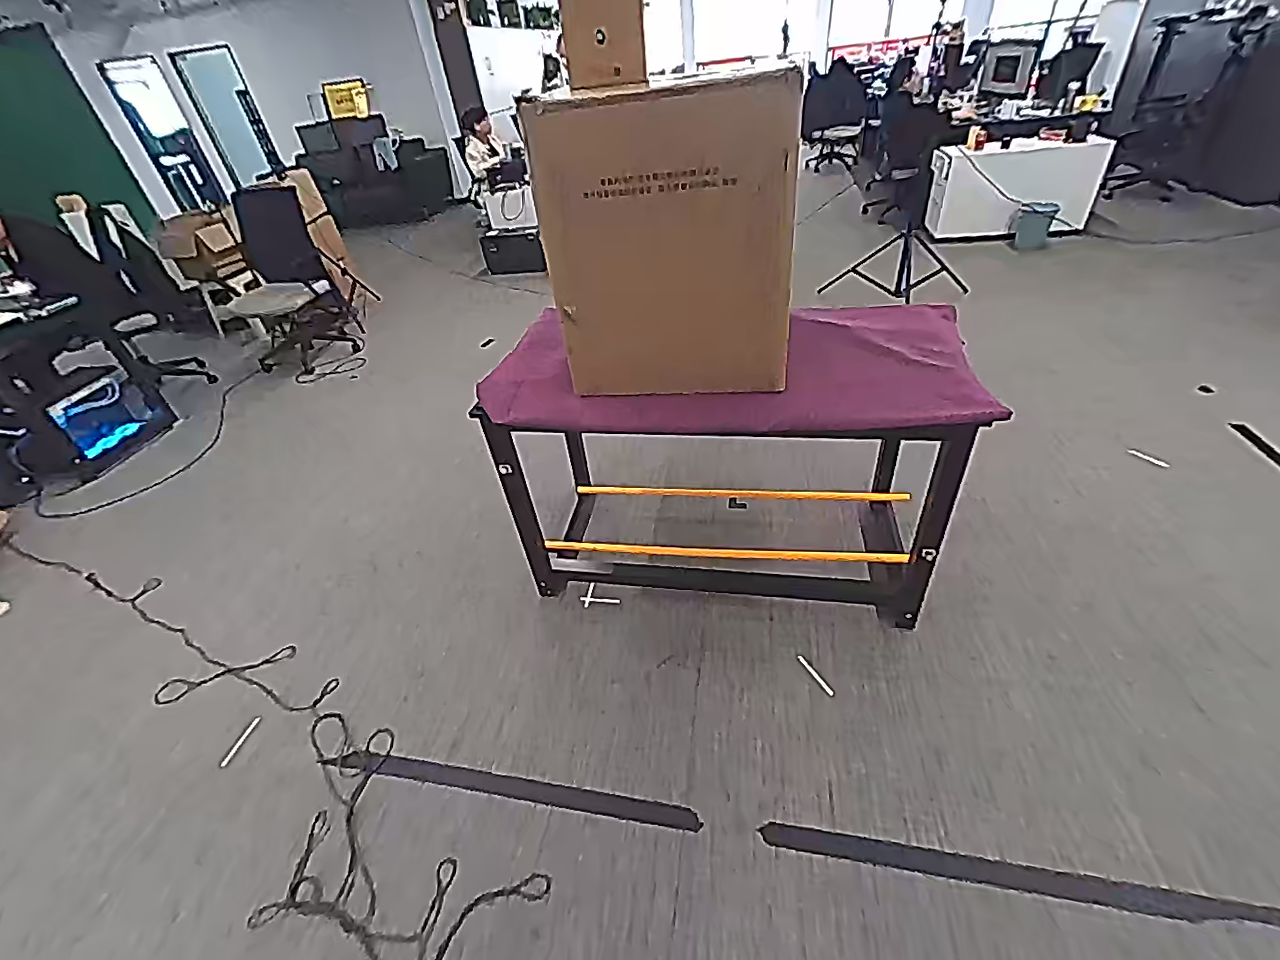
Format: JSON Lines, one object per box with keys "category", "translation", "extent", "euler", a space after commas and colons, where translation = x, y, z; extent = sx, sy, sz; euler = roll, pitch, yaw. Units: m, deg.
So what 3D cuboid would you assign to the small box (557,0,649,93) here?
{"category": "small box", "translation": [-0.069, -0.930, 1.144], "extent": [0.168, 0.176, 0.179], "euler": [-2, 38, 5]}
